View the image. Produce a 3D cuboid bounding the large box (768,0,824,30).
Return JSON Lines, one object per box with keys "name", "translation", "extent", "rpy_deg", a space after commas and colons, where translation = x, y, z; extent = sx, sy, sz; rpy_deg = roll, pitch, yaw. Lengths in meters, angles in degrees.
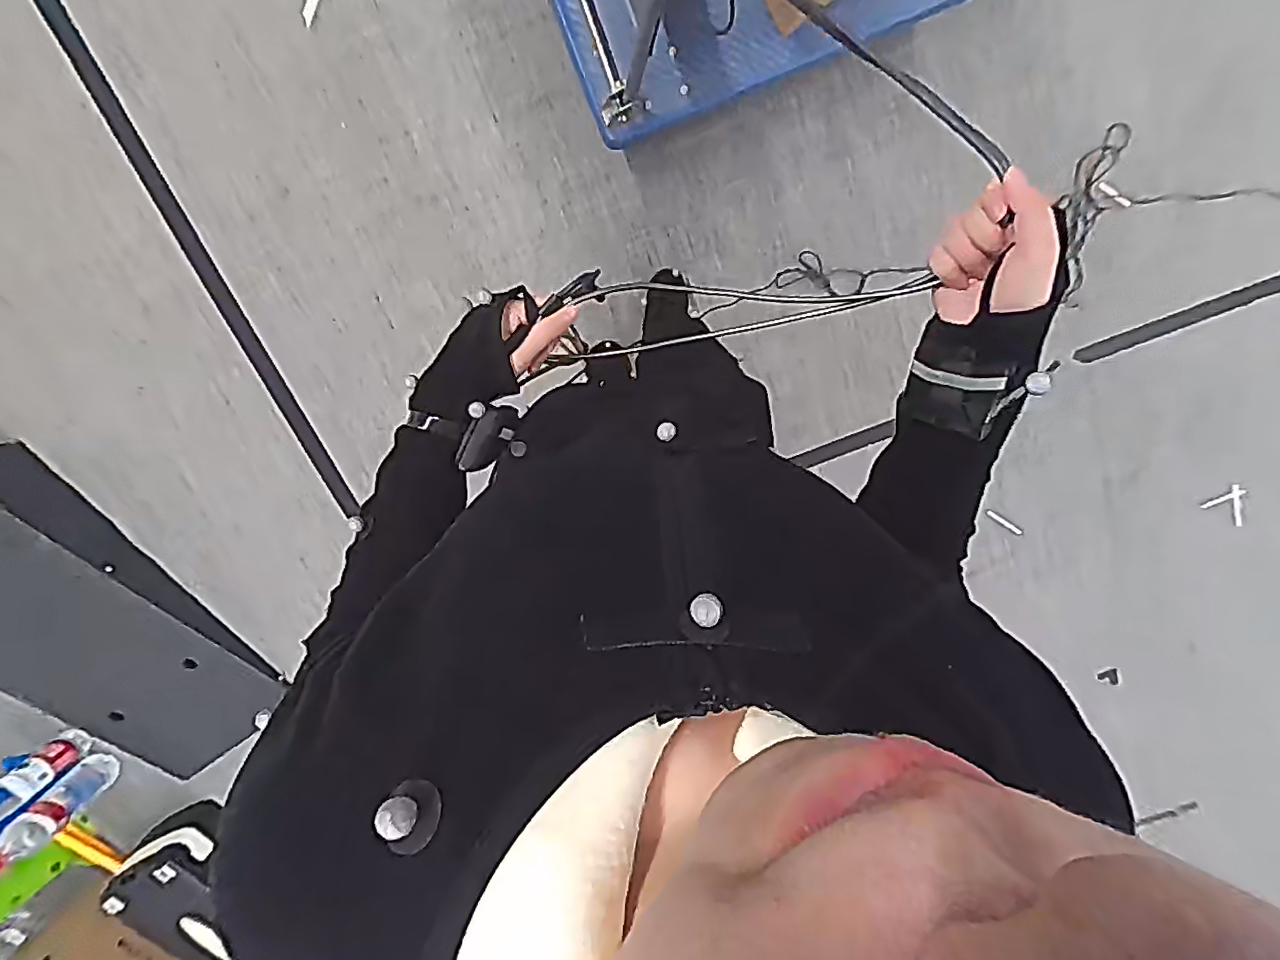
{"name": "large box", "translation": [0.303, -1.082, 0.863], "extent": [0.320, 0.320, 0.408], "rpy_deg": [-36, 107, 8]}
